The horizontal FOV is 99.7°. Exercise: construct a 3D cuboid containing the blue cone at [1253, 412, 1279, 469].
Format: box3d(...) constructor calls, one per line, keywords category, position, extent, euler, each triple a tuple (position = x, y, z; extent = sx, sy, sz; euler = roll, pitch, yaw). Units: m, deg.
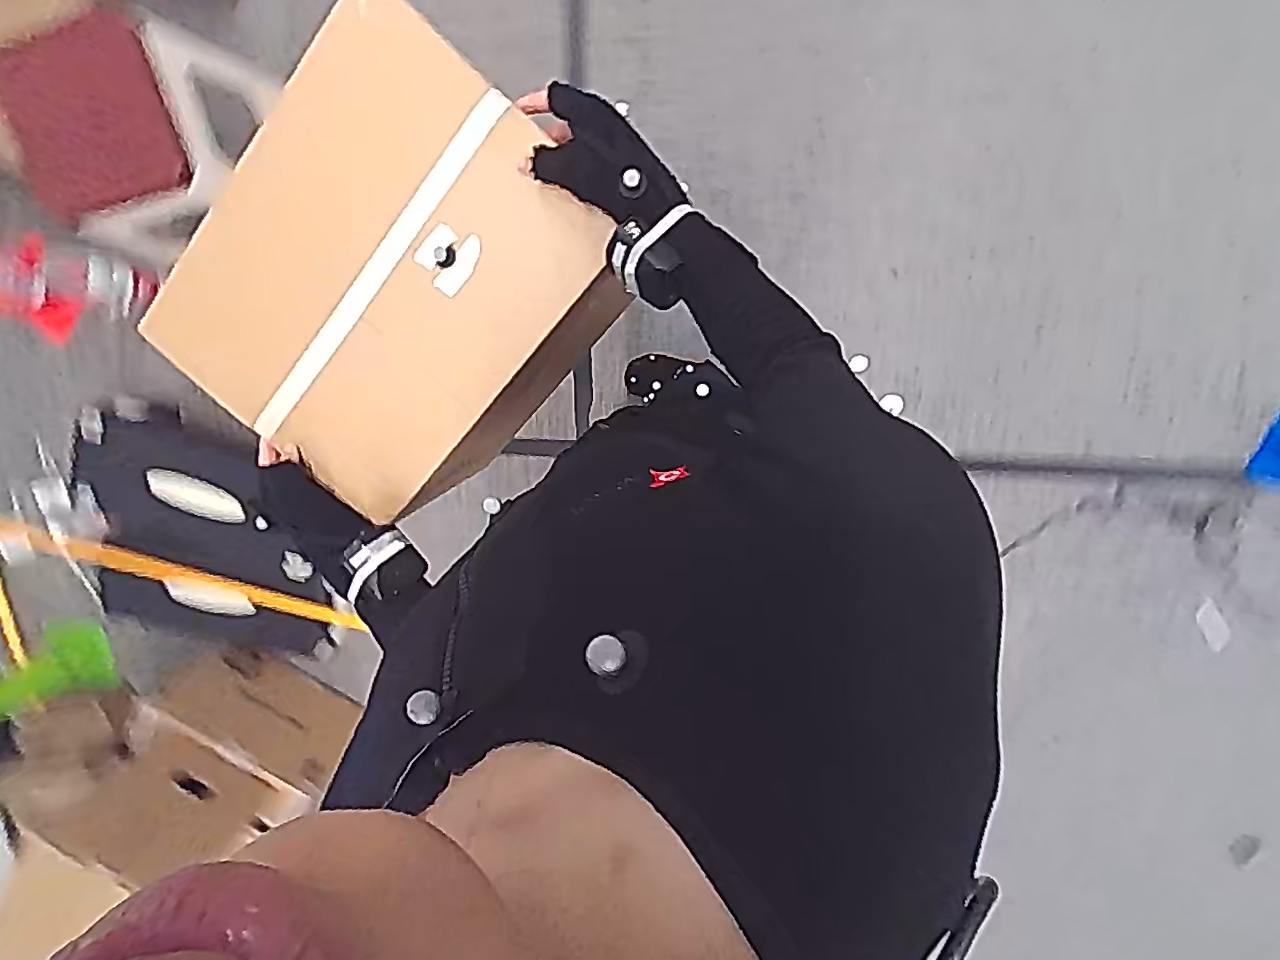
box3d(category="blue cone", position=(1.654, -0.075, 1.193), extent=(0.192, 0.380, 0.193), euler=(22, 102, 0))
